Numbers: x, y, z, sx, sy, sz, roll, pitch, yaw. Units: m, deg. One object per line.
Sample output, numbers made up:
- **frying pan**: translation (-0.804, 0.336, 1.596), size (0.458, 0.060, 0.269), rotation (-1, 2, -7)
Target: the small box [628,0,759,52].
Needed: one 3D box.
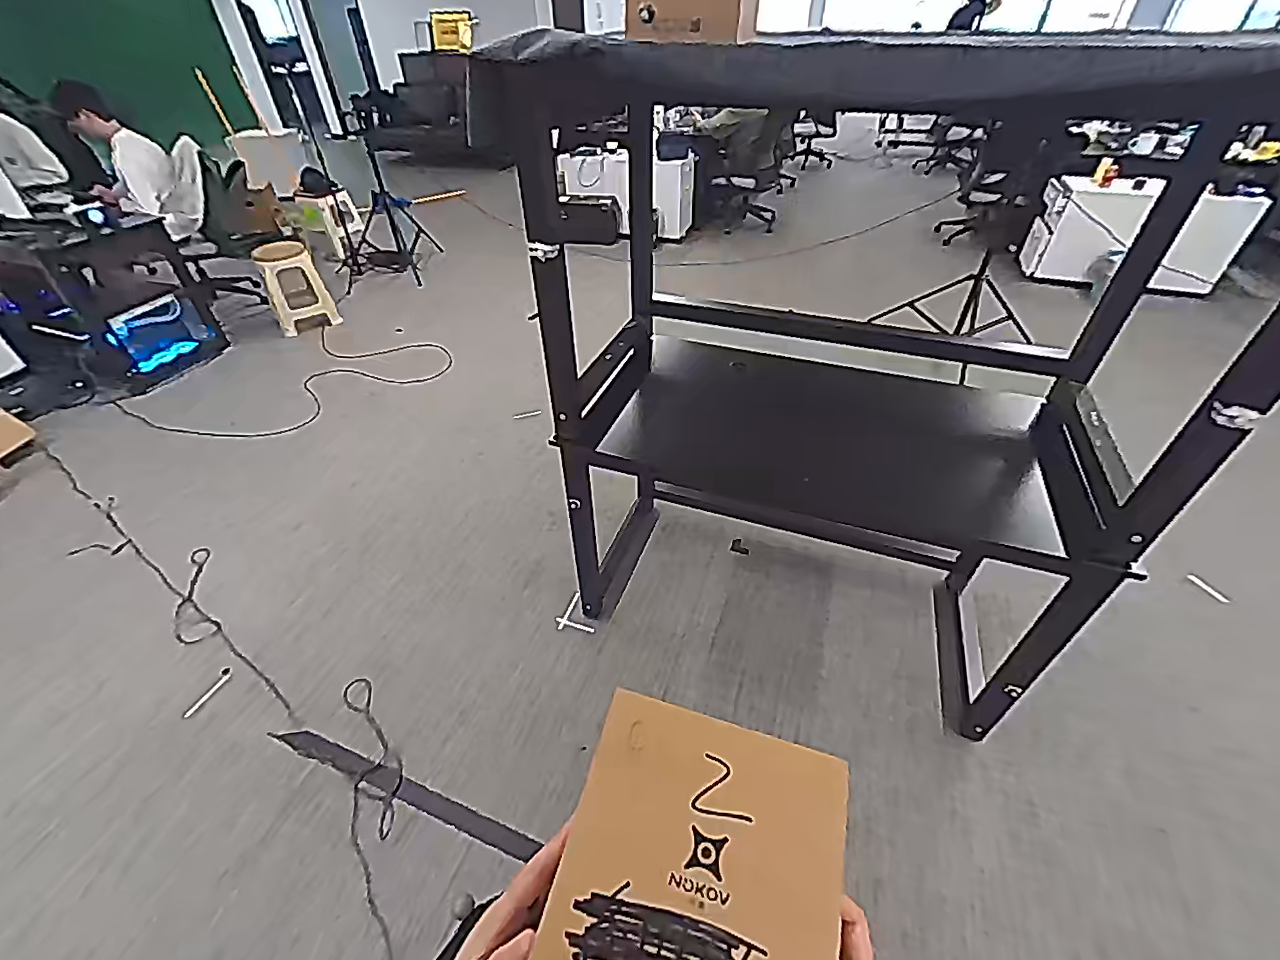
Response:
- **small box**: translation (0.083, -0.726, 0.777), size (0.168, 0.176, 0.179), rotation (12, 40, 13)
